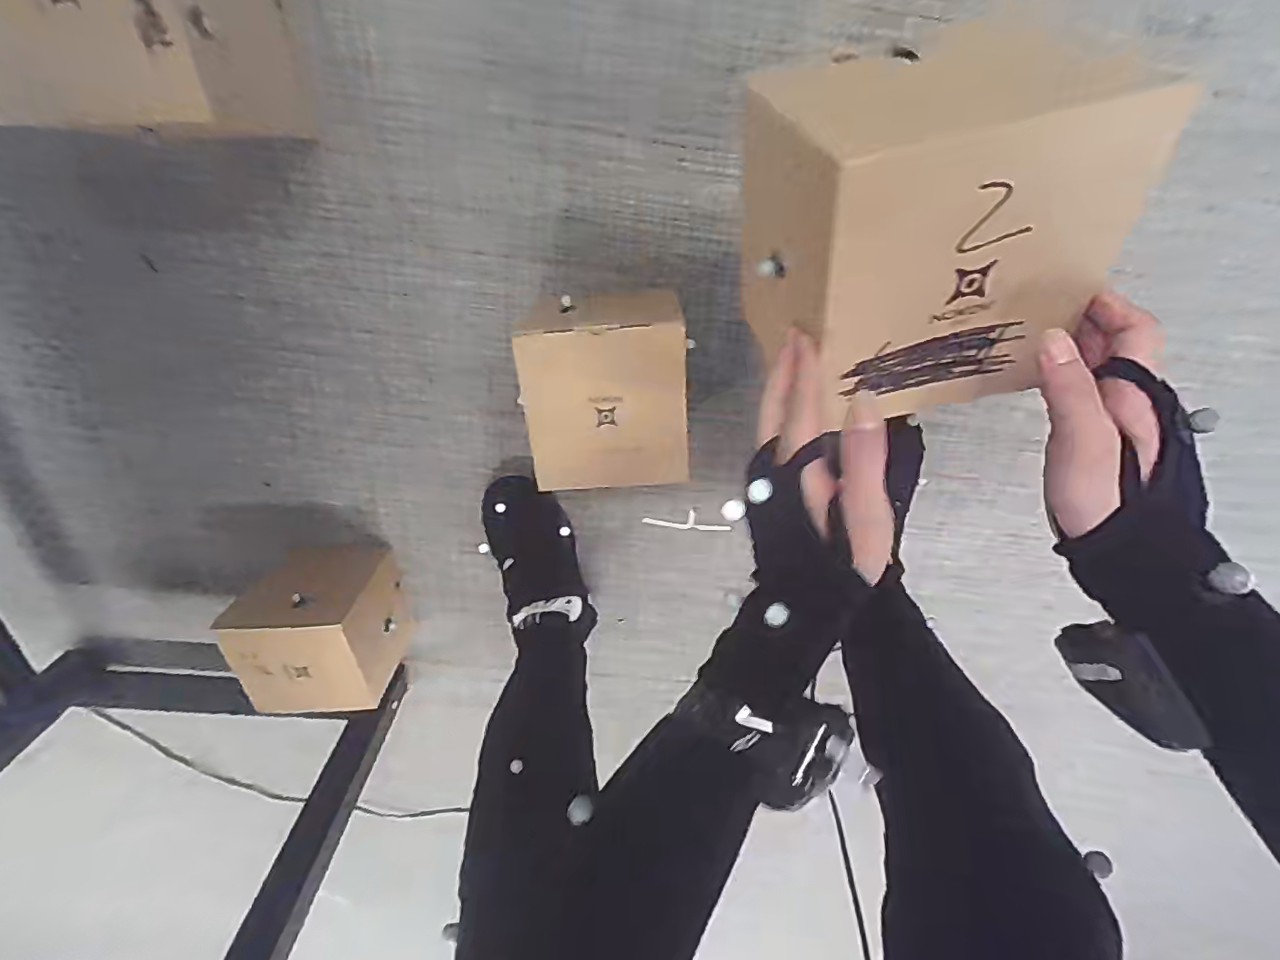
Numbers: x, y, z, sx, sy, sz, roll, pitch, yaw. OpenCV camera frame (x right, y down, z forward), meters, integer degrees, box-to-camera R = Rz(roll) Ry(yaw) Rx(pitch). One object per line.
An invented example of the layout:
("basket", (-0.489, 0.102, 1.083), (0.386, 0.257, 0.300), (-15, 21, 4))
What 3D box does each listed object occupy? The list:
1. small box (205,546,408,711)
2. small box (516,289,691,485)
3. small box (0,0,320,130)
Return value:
("small box", (-0.457, 0.209, 0.783), (0.179, 0.176, 0.168), (-2, 119, 1))
("small box", (-0.032, -0.112, 0.606), (0.168, 0.176, 0.179), (-2, 120, 2))
("small box", (-0.412, -0.394, 0.448), (0.179, 0.176, 0.168), (0, 119, 0))
